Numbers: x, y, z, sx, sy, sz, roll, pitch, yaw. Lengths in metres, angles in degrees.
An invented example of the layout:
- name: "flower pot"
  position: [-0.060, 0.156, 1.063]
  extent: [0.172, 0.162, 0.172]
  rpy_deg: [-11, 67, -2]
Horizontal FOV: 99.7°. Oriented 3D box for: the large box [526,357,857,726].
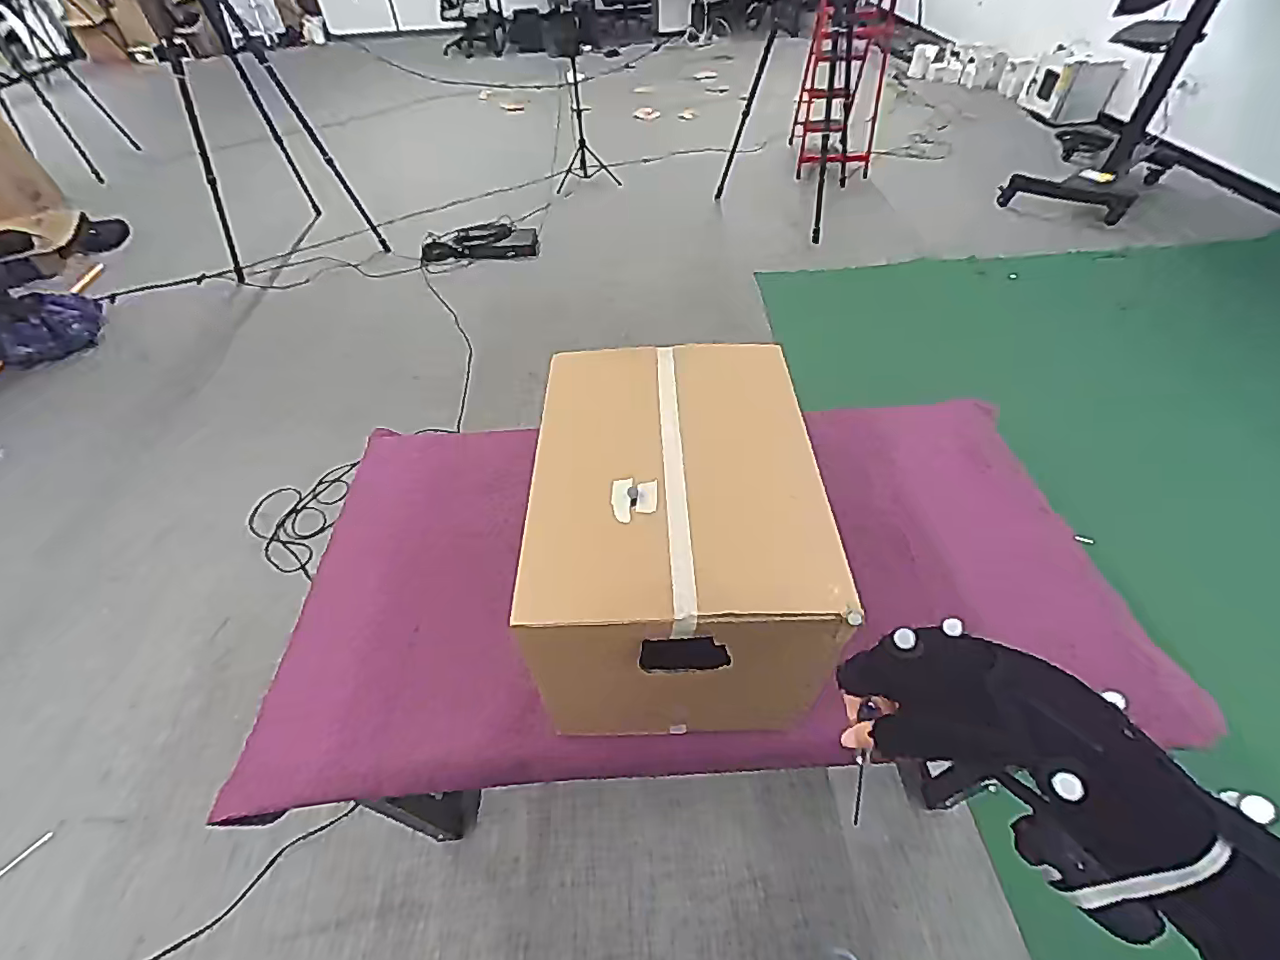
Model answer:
- name: "large box"
  position: [0.045, 0.079, 0.734]
  extent: [0.320, 0.320, 0.408]
  rpy_deg: [-2, 49, 1]
